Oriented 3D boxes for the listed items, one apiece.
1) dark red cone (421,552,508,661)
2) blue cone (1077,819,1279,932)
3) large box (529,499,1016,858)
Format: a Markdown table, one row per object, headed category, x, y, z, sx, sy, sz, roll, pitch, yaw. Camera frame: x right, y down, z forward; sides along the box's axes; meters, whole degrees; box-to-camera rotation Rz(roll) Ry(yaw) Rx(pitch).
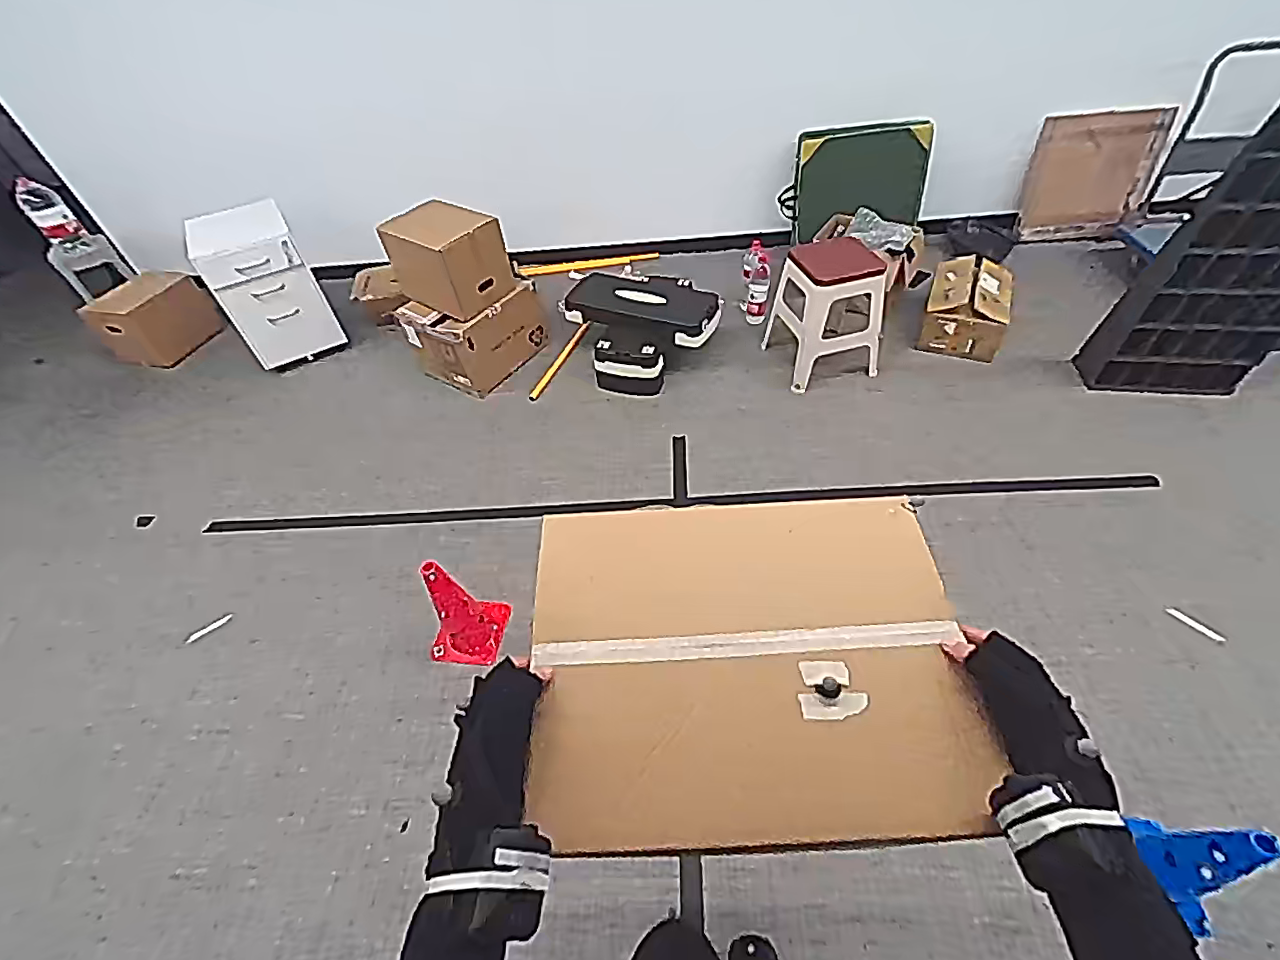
| category | x | y | z | sx | sy | sz | roll | pitch | yaw |
| --- | --- | --- | --- | --- | --- | --- | --- | --- | --- |
| dark red cone | -0.518 | 0.328 | 1.488 | 0.201 | 0.394 | 0.202 | 3 | 48 | 7 |
| blue cone | 1.037 | 0.714 | 1.014 | 0.192 | 0.380 | 0.193 | 1 | 48 | 6 |
| large box | 0.104 | 0.244 | 0.640 | 0.408 | 0.320 | 0.320 | -3 | 54 | 1 |
